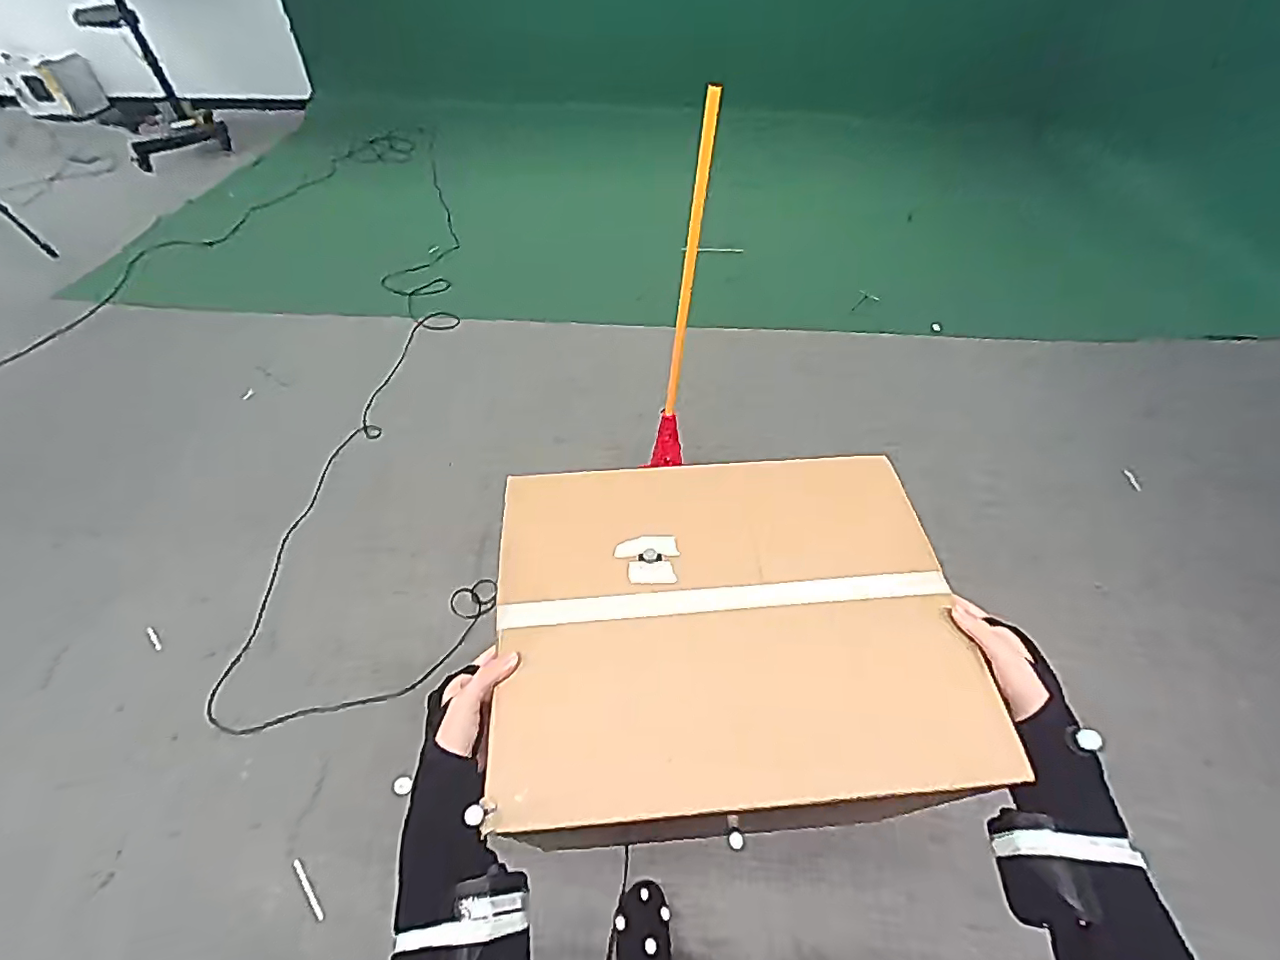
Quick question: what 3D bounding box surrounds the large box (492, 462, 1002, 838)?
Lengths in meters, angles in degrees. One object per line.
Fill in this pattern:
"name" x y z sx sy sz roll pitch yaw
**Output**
"large box" 0.077 0.204 0.616 0.408 0.320 0.320 -4 54 -2
